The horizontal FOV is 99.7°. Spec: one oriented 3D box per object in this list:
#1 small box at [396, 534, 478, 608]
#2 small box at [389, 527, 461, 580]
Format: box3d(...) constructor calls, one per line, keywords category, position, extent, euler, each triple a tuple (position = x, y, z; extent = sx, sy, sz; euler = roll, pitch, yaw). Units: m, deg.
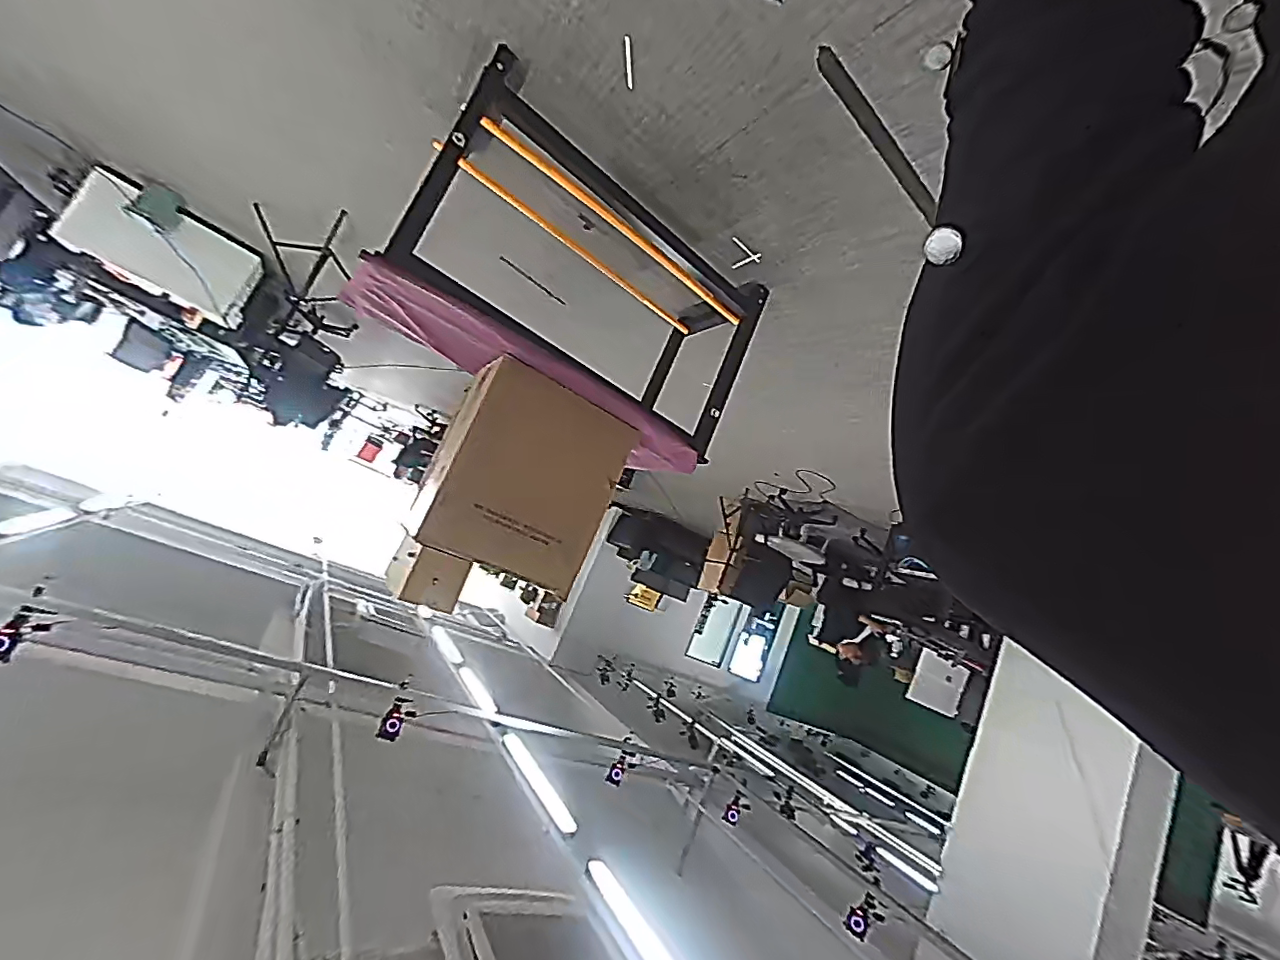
box3d(category="small box", position=(-0.622, 0.279, 1.648), extent=(0.168, 0.176, 0.179), euler=(28, 168, -30))
box3d(category="small box", position=(-0.725, 0.271, 1.836), extent=(0.168, 0.176, 0.179), euler=(28, 169, -29))
